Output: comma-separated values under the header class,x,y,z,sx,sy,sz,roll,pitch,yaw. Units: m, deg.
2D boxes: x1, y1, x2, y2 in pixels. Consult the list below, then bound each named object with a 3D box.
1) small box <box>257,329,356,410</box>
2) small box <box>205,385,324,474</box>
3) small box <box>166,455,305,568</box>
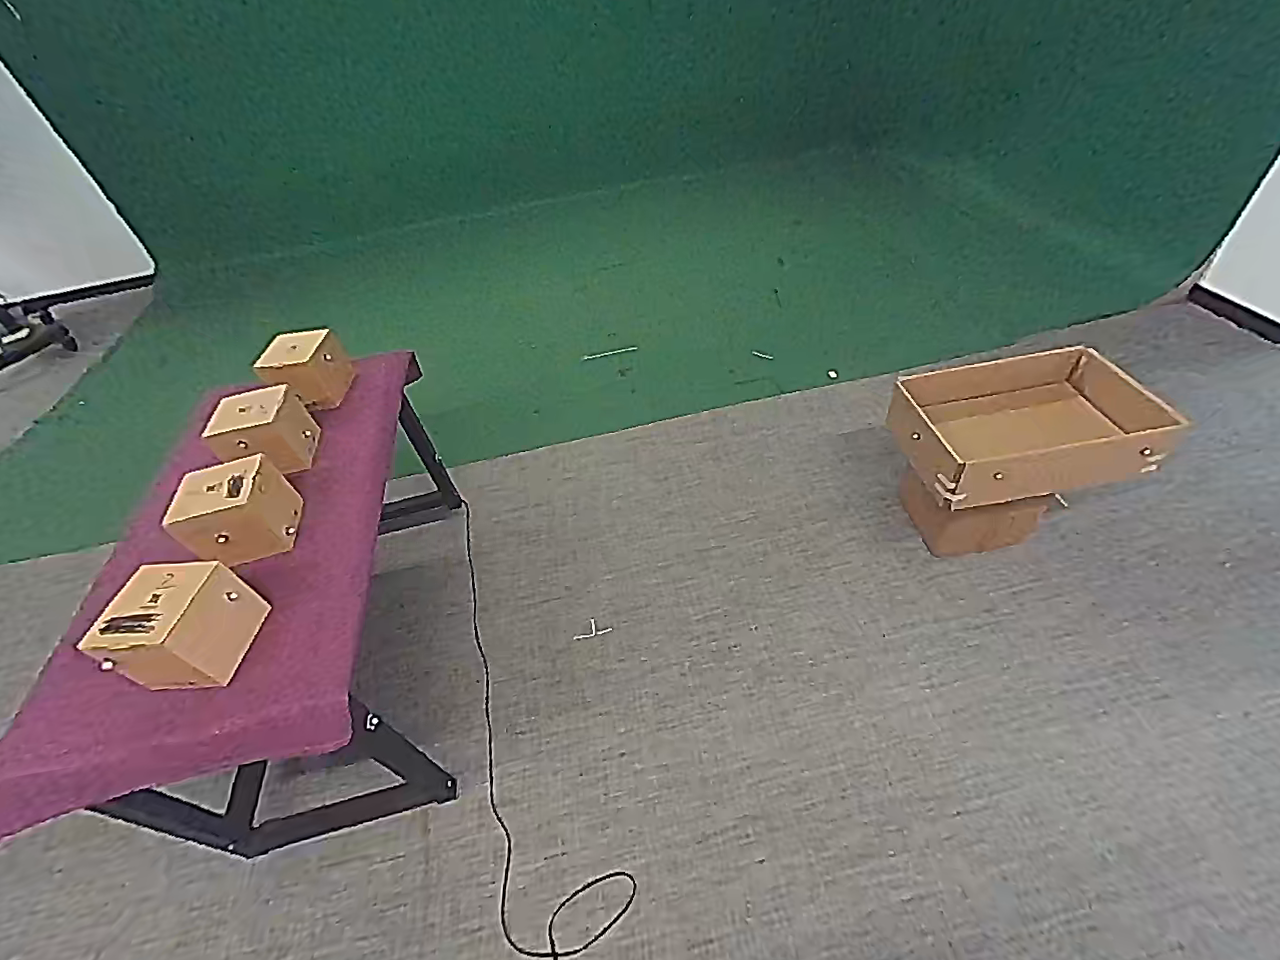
class,x,y,z,sx,sy,sz,roll,pitch,yaw
small box,-0.991,-0.328,1.626,0.168,0.176,0.179,-6,47,4
small box,-0.982,-0.122,1.430,0.179,0.176,0.168,-14,47,-3
small box,-0.905,0.074,1.233,0.179,0.176,0.168,-17,46,-4
